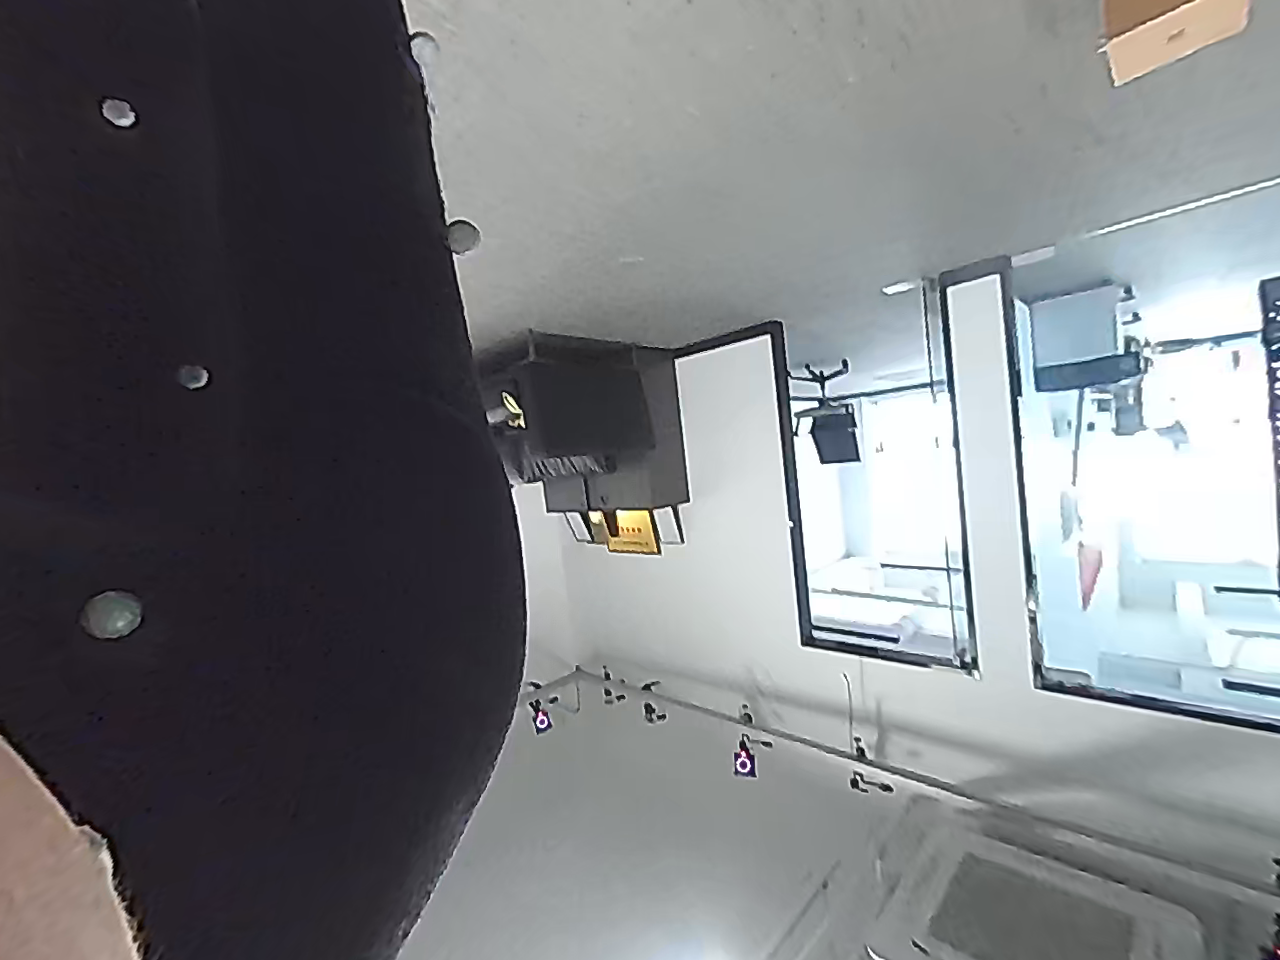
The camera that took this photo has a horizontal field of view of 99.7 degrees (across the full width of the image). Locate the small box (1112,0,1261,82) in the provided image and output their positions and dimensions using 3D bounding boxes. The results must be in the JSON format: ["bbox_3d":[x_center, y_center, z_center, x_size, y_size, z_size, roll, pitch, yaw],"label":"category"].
[{"bbox_3d":[0.874,-0.803,0.870,0.179,0.176,0.168,-7,-178,-44],"label":"small box"}]
